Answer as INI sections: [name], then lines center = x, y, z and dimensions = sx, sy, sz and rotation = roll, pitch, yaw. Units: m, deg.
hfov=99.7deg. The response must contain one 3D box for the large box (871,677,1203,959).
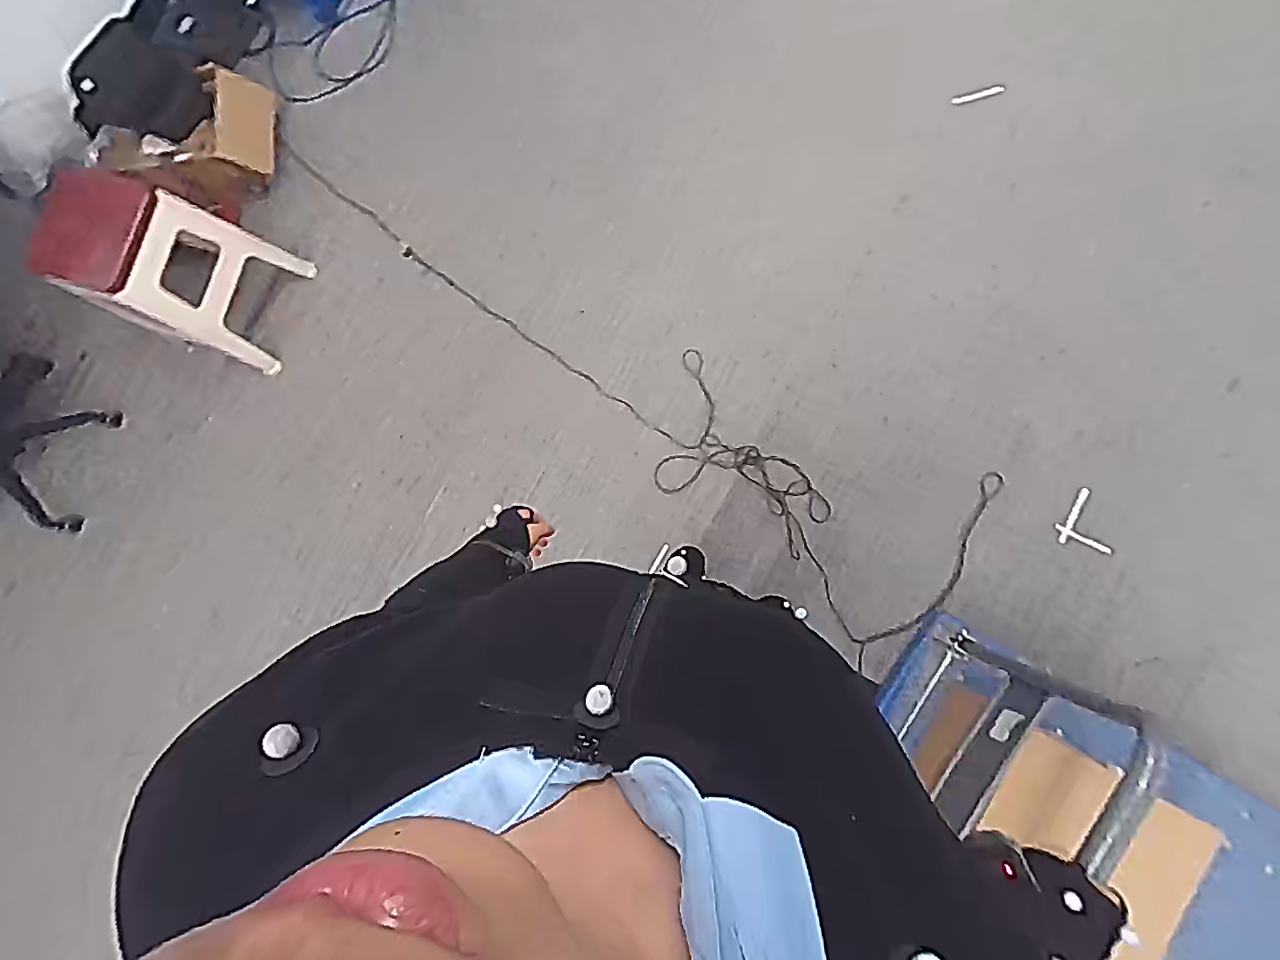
[large box]
center = 0.713, 0.665, 1.041
dimensions = 0.320, 0.320, 0.408
rotation = 28, 89, 11
